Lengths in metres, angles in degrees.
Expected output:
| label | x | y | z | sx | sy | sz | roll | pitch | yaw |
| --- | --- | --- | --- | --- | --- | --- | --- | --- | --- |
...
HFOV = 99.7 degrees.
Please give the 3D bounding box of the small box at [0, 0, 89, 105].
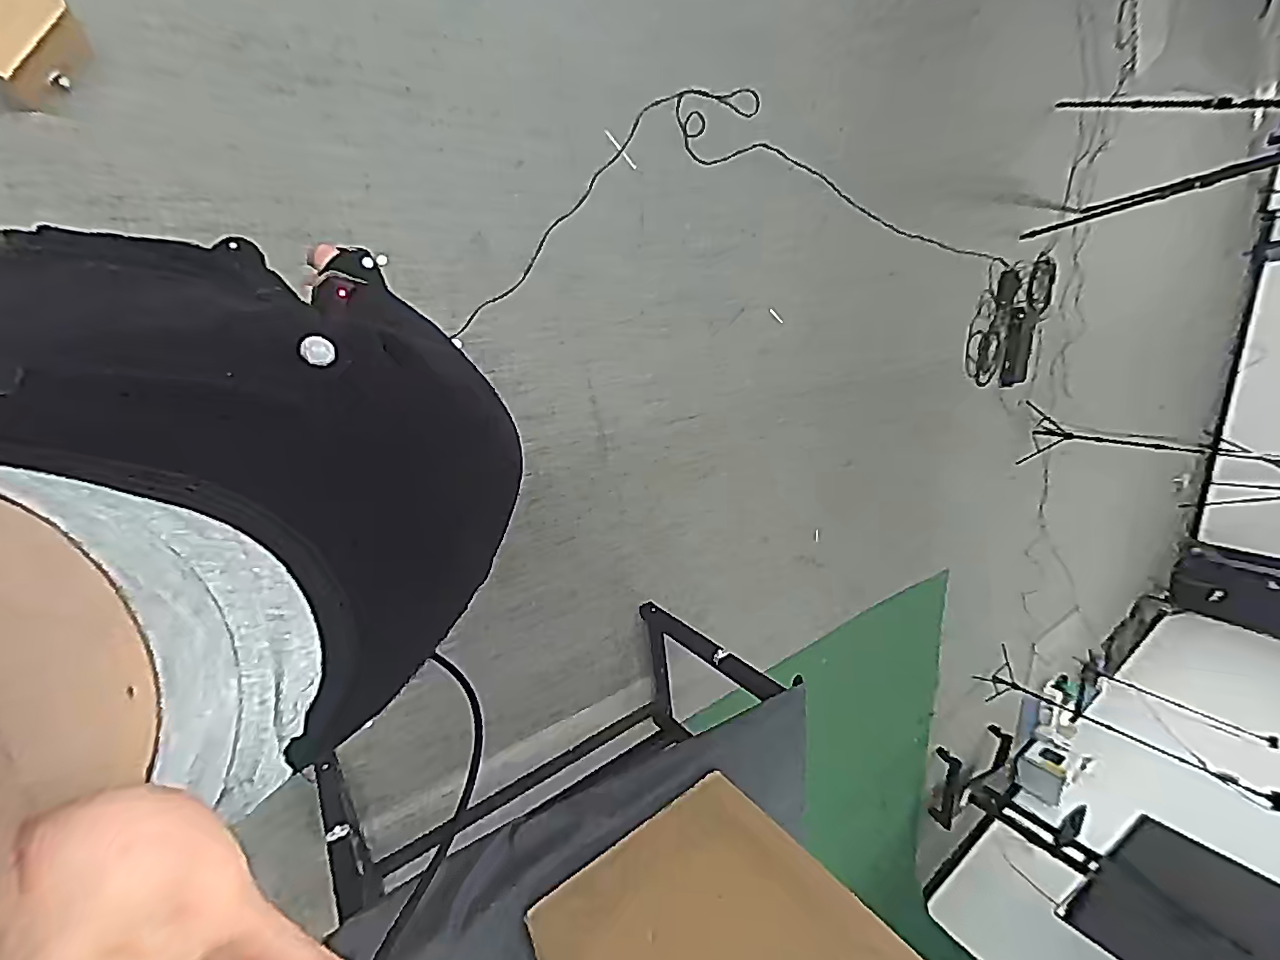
| label | x | y | z | sx | sy | sz | roll | pitch | yaw |
| --- | --- | --- | --- | --- | --- | --- | --- | --- | --- |
| small box | -1.086 | -0.776 | 0.898 | 0.179 | 0.176 | 0.168 | 34 | 83 | -37 |
